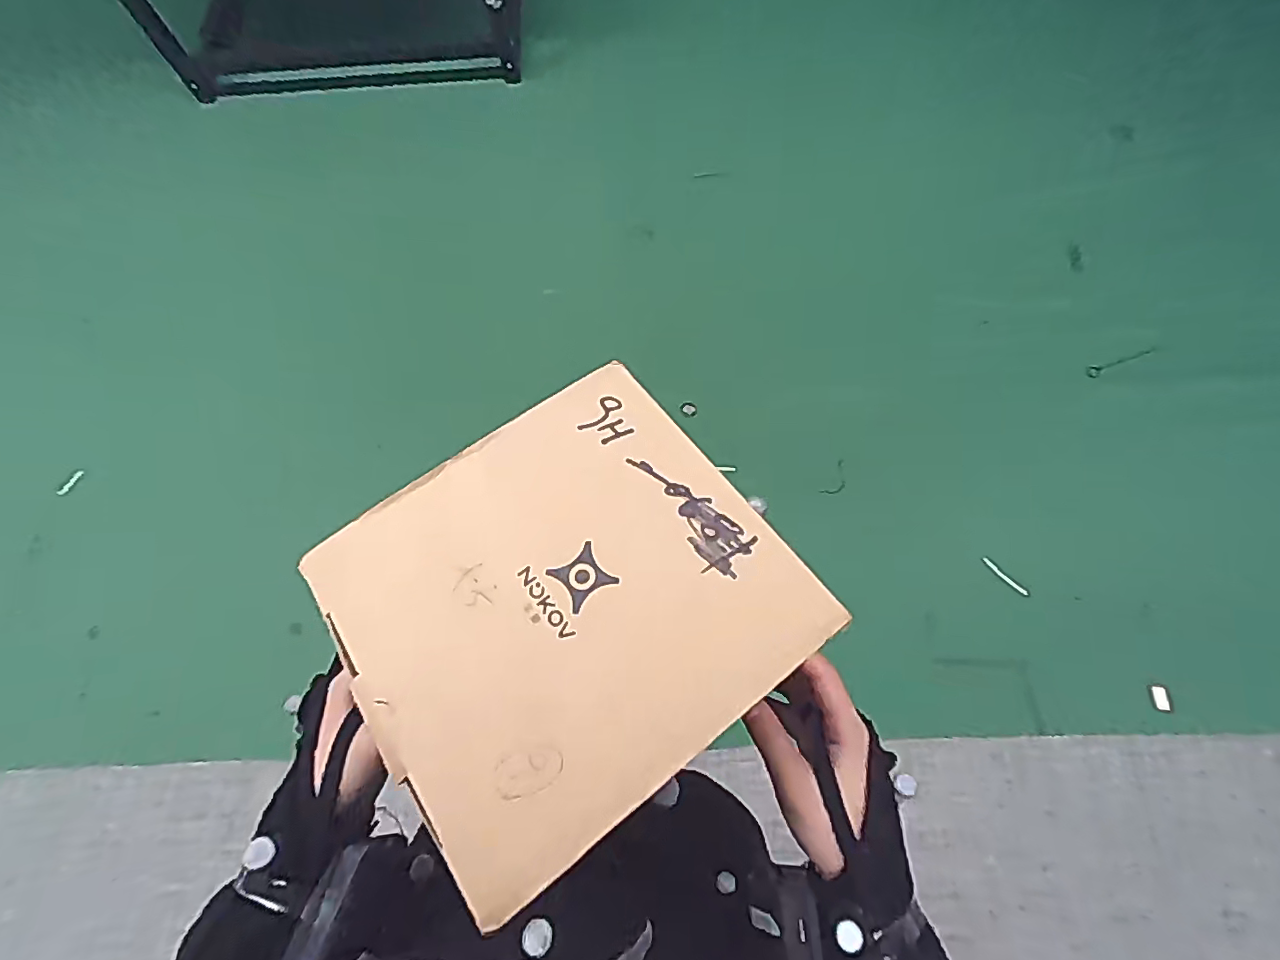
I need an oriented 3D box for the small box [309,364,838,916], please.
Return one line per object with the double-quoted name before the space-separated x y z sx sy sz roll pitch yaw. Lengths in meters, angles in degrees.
"small box" -0.029 0.078 0.302 0.179 0.176 0.168 -35 69 -12
